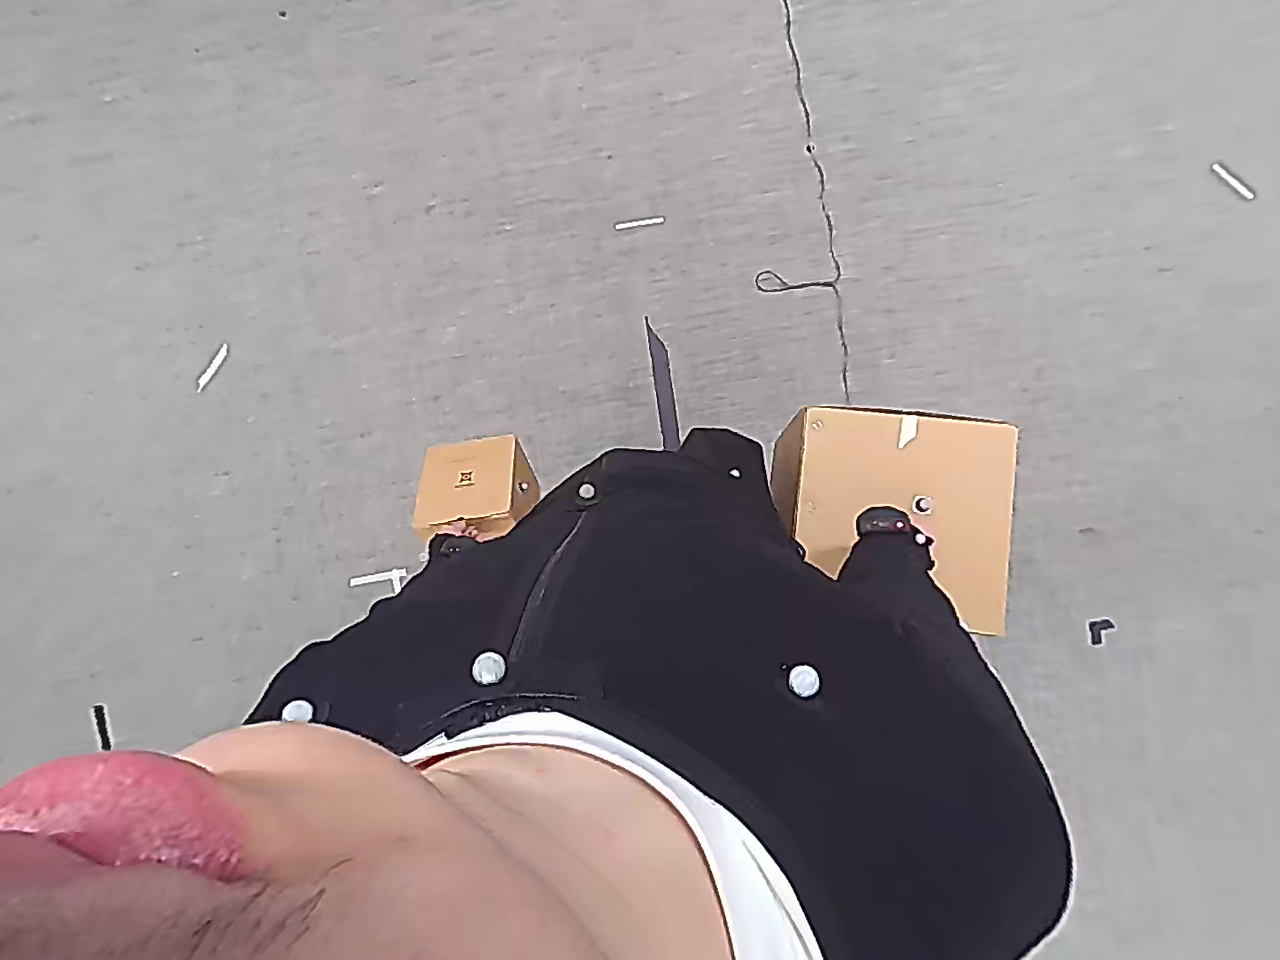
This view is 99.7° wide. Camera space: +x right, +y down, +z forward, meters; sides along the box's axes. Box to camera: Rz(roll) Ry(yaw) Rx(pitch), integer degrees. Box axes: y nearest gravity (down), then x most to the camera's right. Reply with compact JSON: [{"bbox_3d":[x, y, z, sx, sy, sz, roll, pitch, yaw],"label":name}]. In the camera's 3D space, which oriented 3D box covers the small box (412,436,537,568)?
[{"bbox_3d":[-0.290,0.048,0.987,0.168,0.176,0.179,-8,53,2],"label":"small box"}]
